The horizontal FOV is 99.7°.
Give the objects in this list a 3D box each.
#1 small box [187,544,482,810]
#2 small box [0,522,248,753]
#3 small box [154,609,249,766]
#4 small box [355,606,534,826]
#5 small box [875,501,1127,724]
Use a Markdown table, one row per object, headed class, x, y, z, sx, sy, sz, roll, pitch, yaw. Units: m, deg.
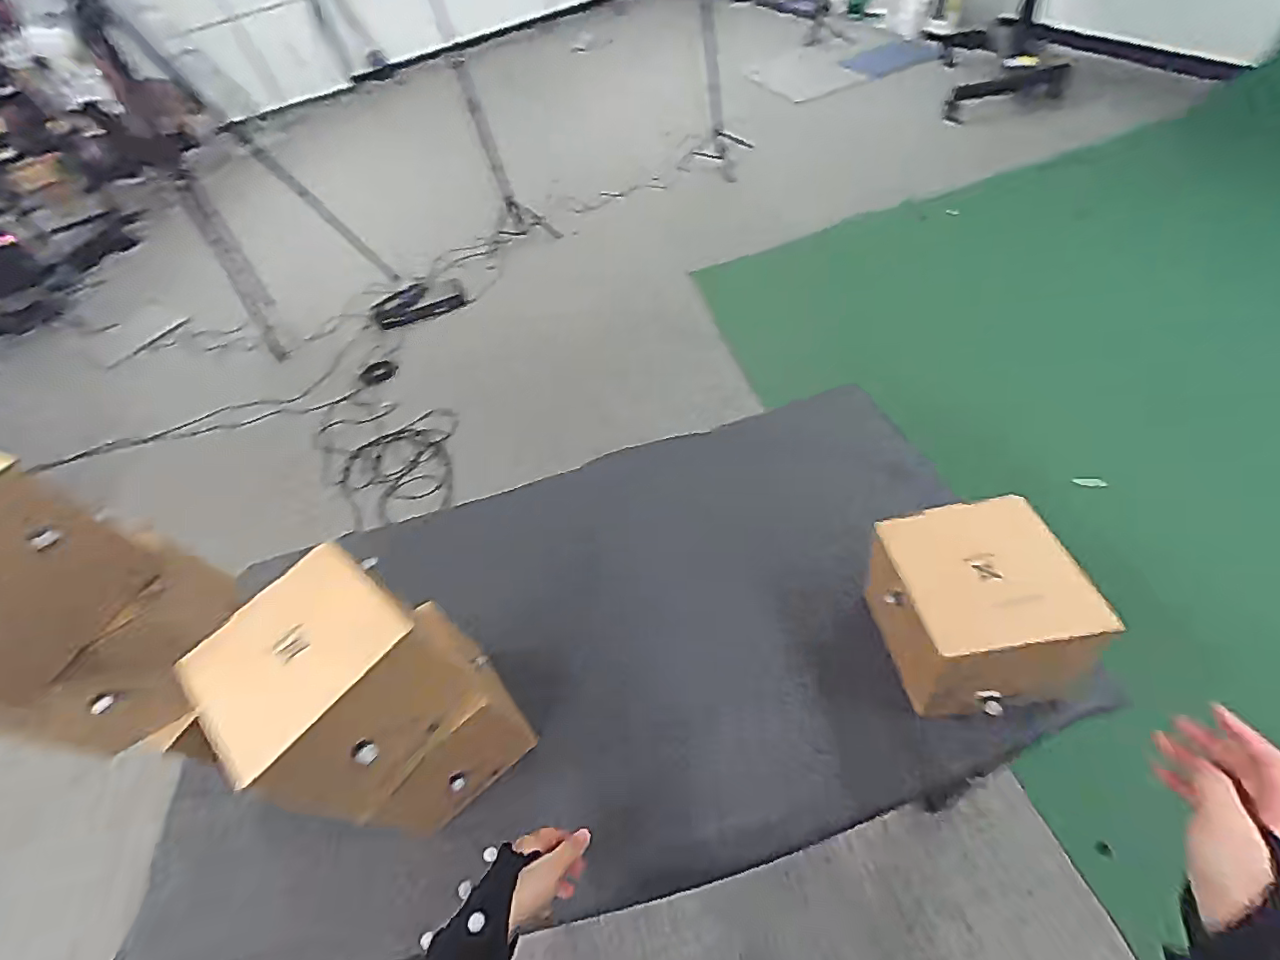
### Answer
| class | x | y | z | sx | sy | sz | roll | pitch | yaw |
| --- | --- | --- | --- | --- | --- | --- | --- | --- | --- |
| small box | -0.296 | 0.204 | 0.554 | 0.179 | 0.176 | 0.168 | 28 | 62 | 33 |
| small box | -0.605 | 0.189 | 0.647 | 0.179 | 0.176 | 0.168 | -32 | 51 | -12 |
| small box | -0.574 | 0.290 | 0.774 | 0.179 | 0.176 | 0.168 | 15 | 56 | 25 |
| small box | -0.259 | 0.301 | 0.680 | 0.168 | 0.176 | 0.179 | -36 | 51 | -17 |
| small box | 0.385 | 0.154 | 0.623 | 0.168 | 0.176 | 0.179 | -13 | 45 | 7 |
